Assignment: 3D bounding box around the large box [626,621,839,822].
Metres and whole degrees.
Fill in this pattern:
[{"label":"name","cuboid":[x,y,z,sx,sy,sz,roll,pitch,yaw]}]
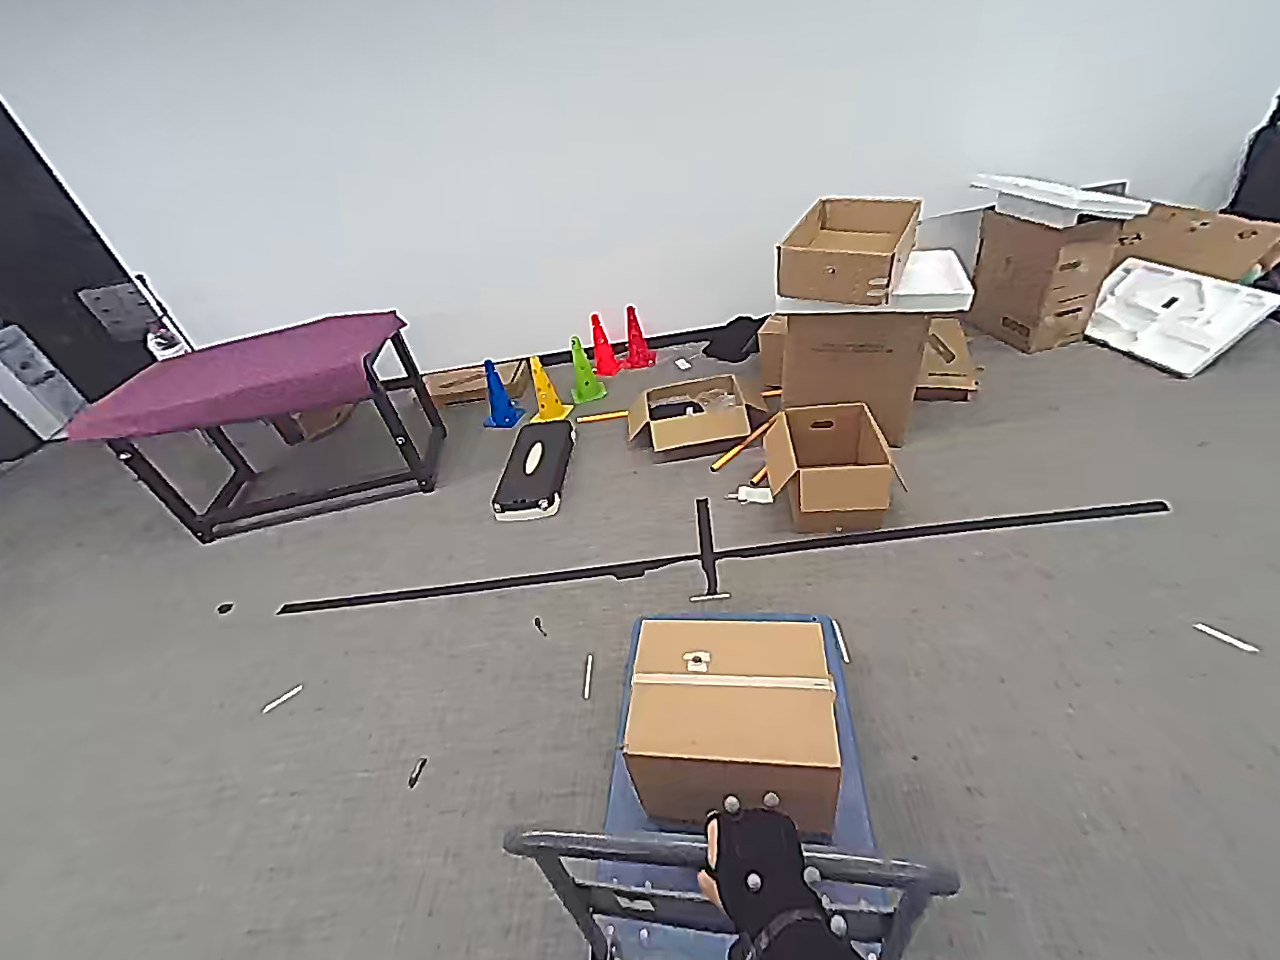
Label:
[{"label":"large box","cuboid":[0.210,0.543,1.222,0.408,0.320,0.320,-4,37,12]}]
